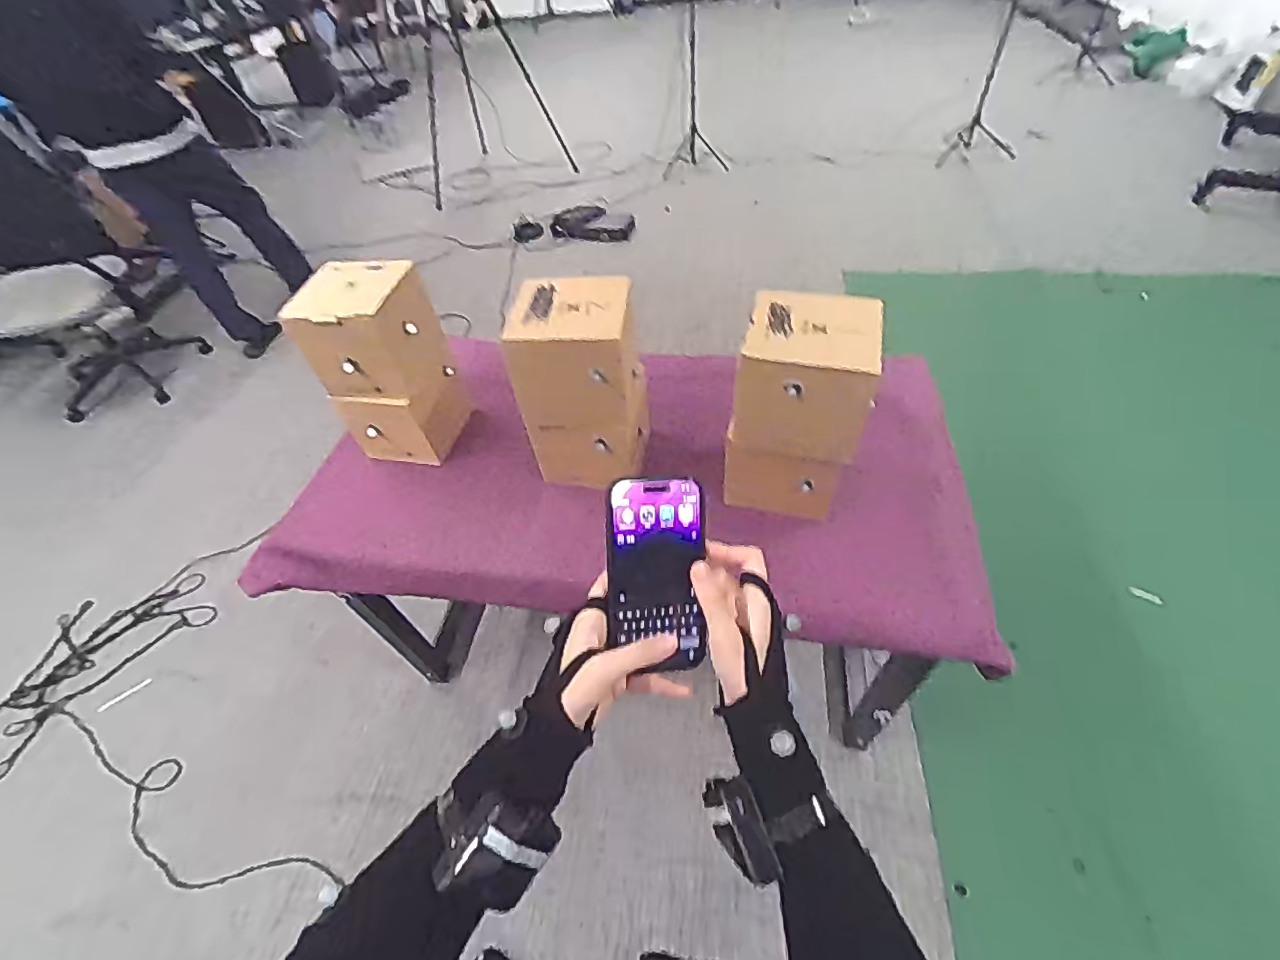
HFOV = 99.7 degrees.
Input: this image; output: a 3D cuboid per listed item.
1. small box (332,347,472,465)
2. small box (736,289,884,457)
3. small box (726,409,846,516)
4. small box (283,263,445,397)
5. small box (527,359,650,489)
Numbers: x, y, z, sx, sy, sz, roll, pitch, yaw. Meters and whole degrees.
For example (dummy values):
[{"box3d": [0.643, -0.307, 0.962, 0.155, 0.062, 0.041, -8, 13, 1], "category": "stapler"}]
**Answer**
[{"box3d": [-0.459, -0.149, 1.078, 0.168, 0.176, 0.179, 6, 50, 12], "category": "small box"}, {"box3d": [0.239, -0.153, 0.782, 0.179, 0.176, 0.168, 10, 51, 14], "category": "small box"}, {"box3d": [0.249, -0.058, 0.916, 0.179, 0.176, 0.168, 10, 51, 16], "category": "small box"}, {"box3d": [-0.472, -0.263, 0.960, 0.168, 0.176, 0.179, 2, 50, 8], "category": "small box"}, {"box3d": [-0.082, -0.100, 0.989, 0.179, 0.176, 0.168, 5, 50, 11], "category": "small box"}]
